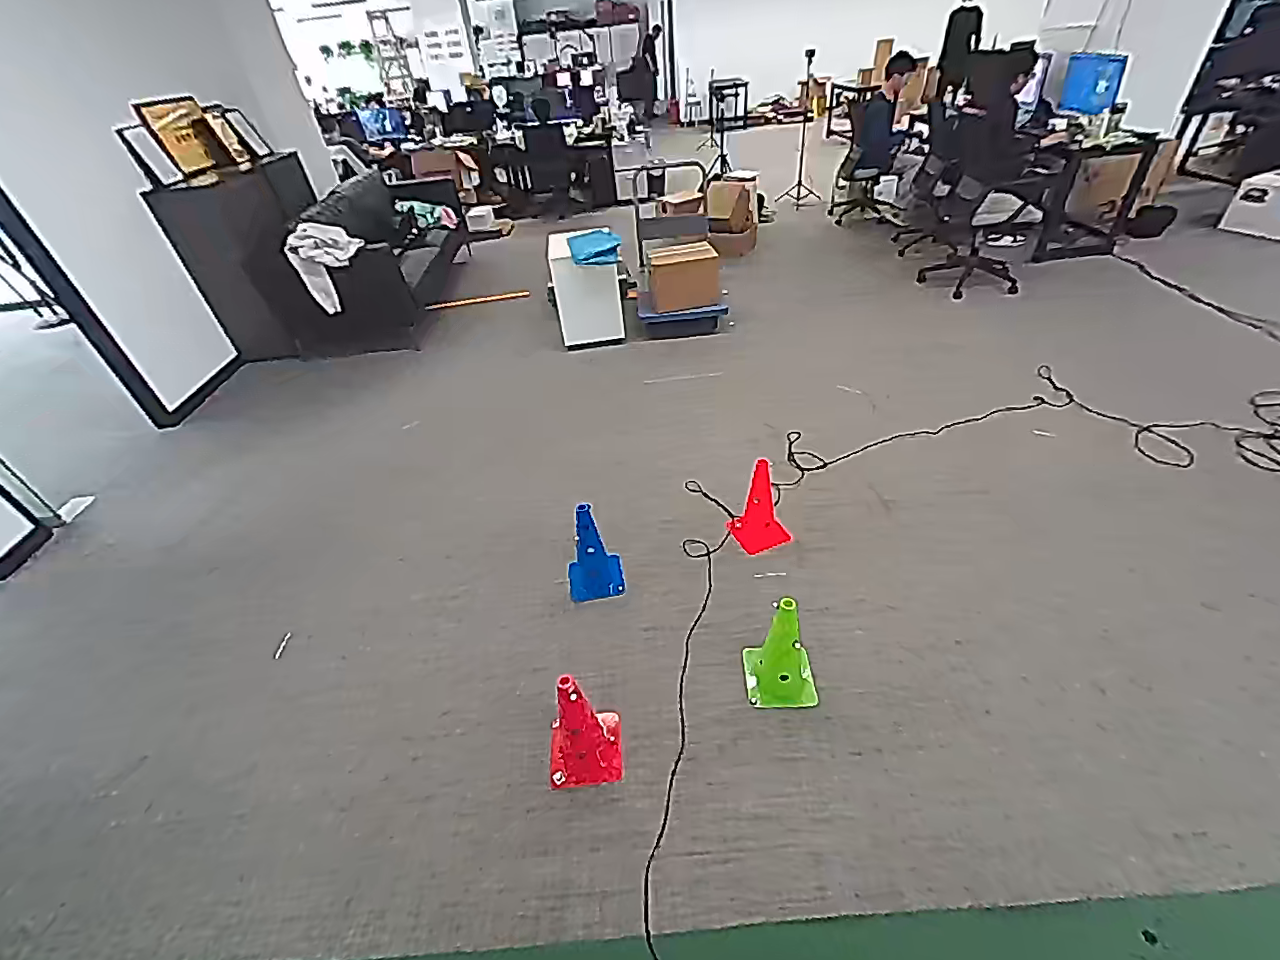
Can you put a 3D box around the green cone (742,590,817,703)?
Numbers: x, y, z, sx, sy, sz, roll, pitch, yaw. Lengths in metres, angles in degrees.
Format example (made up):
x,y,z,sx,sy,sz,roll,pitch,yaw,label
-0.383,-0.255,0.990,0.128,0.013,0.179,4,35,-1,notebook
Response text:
x,y,z,sx,sy,sz,roll,pitch,yaw,label
0.410,0.453,1.548,0.200,0.368,0.202,-4,38,3,green cone

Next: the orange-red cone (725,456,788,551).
x,y,z,sx,sy,sz,roll,pitch,yaw,label
0.444,0.061,2.029,0.198,0.360,0.199,-18,42,-12,orange-red cone
